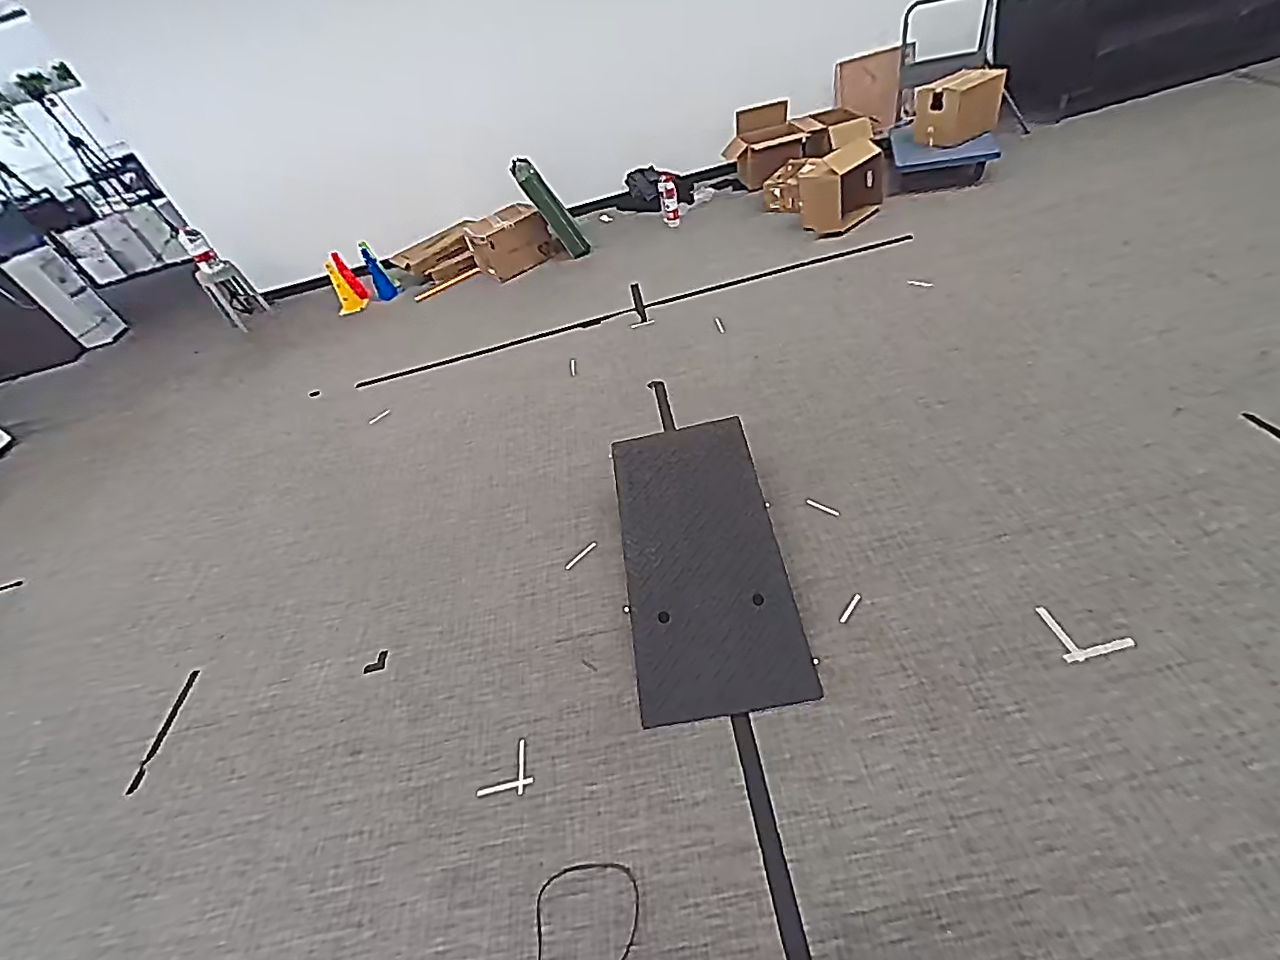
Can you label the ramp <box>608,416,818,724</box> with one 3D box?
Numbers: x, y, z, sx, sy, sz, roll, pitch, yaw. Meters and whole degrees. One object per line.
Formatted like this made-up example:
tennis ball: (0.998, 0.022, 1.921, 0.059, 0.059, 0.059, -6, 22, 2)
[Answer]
ramp: (0.180, 0.215, 1.735, 0.509, 0.206, 0.991, -13, 44, 3)
